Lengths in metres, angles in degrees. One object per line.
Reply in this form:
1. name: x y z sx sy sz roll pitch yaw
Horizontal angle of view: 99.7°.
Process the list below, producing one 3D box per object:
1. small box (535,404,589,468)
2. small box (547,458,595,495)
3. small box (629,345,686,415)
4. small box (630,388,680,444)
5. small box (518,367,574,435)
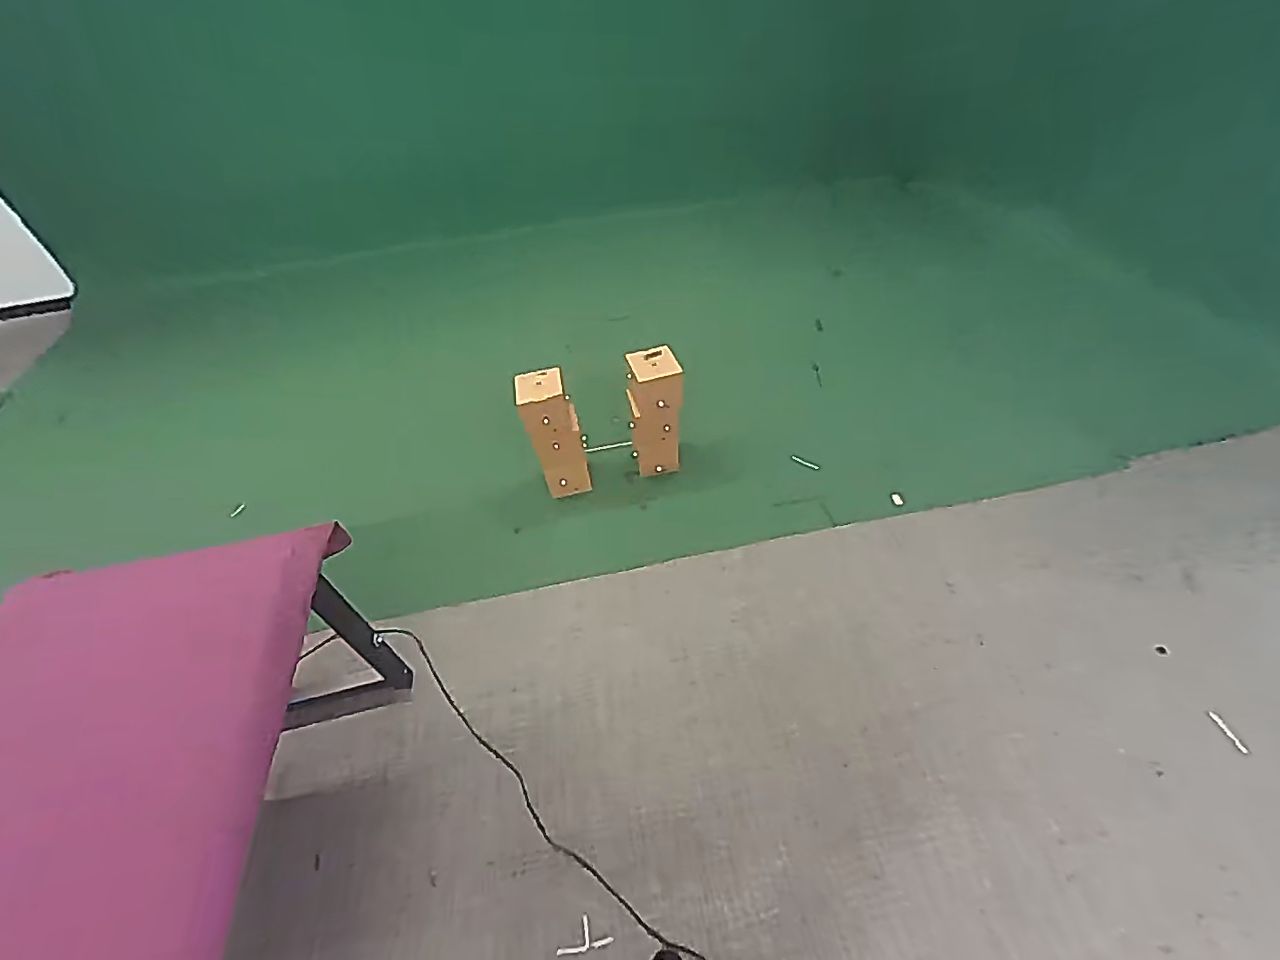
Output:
1. small box: -0.303 -0.165 2.085 0.179 0.176 0.168 -12 47 -4
2. small box: -0.286 -0.057 2.207 0.168 0.176 0.179 -12 46 -4
3. small box: 0.063 -0.370 2.008 0.168 0.176 0.179 -15 50 -8
4. small box: 0.061 -0.257 2.127 0.168 0.176 0.179 -11 48 -5
5. small box: -0.340 -0.283 1.974 0.168 0.176 0.179 -12 47 -3
